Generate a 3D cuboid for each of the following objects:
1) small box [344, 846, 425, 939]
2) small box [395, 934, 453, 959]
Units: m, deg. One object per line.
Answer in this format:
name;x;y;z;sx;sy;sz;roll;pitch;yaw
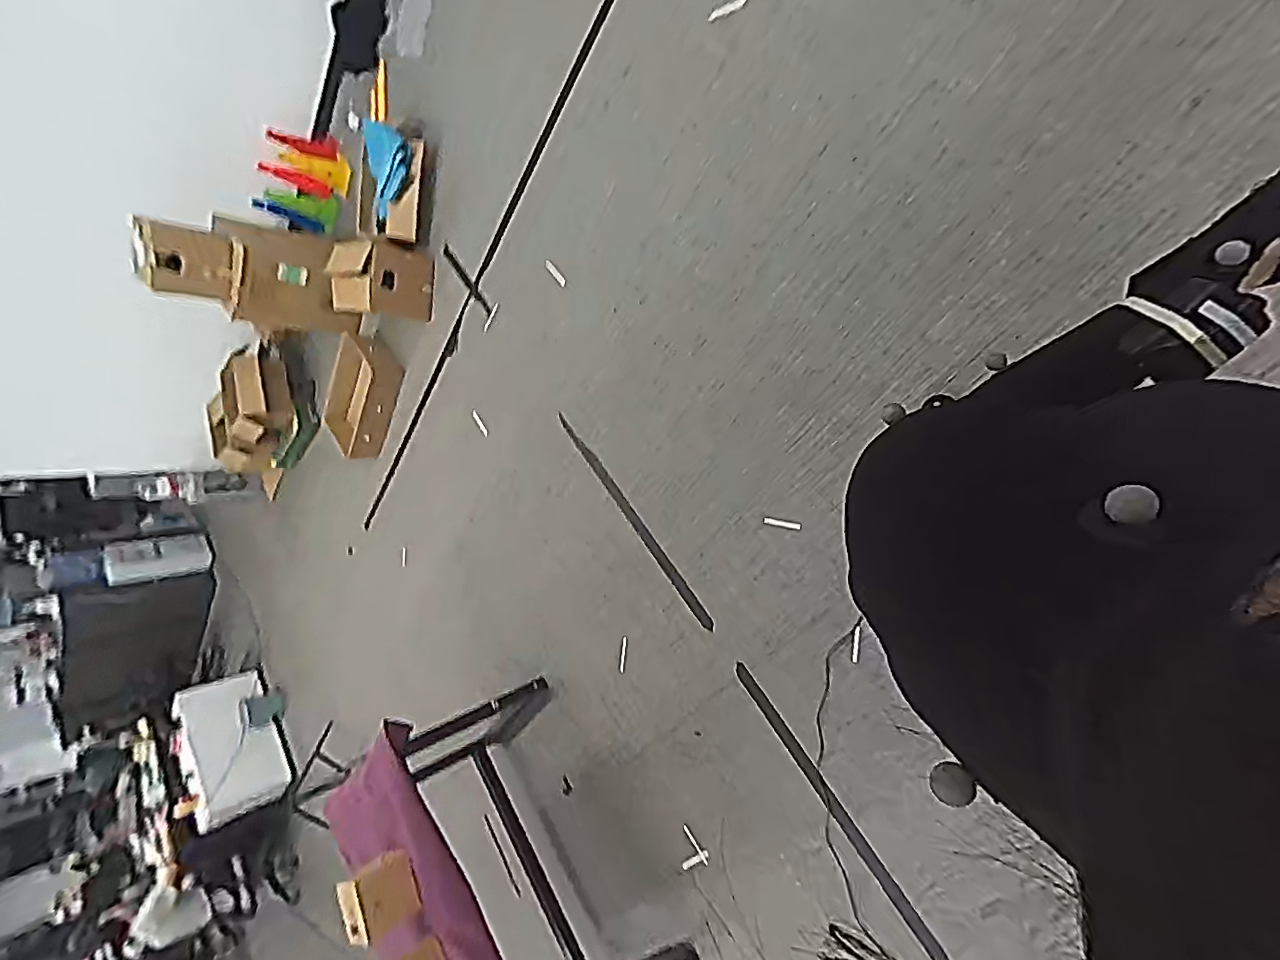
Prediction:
small box;-0.810;1.308;1.724;0.168;0.176;0.179;-35;71;37
small box;-0.656;1.514;1.615;0.179;0.176;0.168;42;119;30
